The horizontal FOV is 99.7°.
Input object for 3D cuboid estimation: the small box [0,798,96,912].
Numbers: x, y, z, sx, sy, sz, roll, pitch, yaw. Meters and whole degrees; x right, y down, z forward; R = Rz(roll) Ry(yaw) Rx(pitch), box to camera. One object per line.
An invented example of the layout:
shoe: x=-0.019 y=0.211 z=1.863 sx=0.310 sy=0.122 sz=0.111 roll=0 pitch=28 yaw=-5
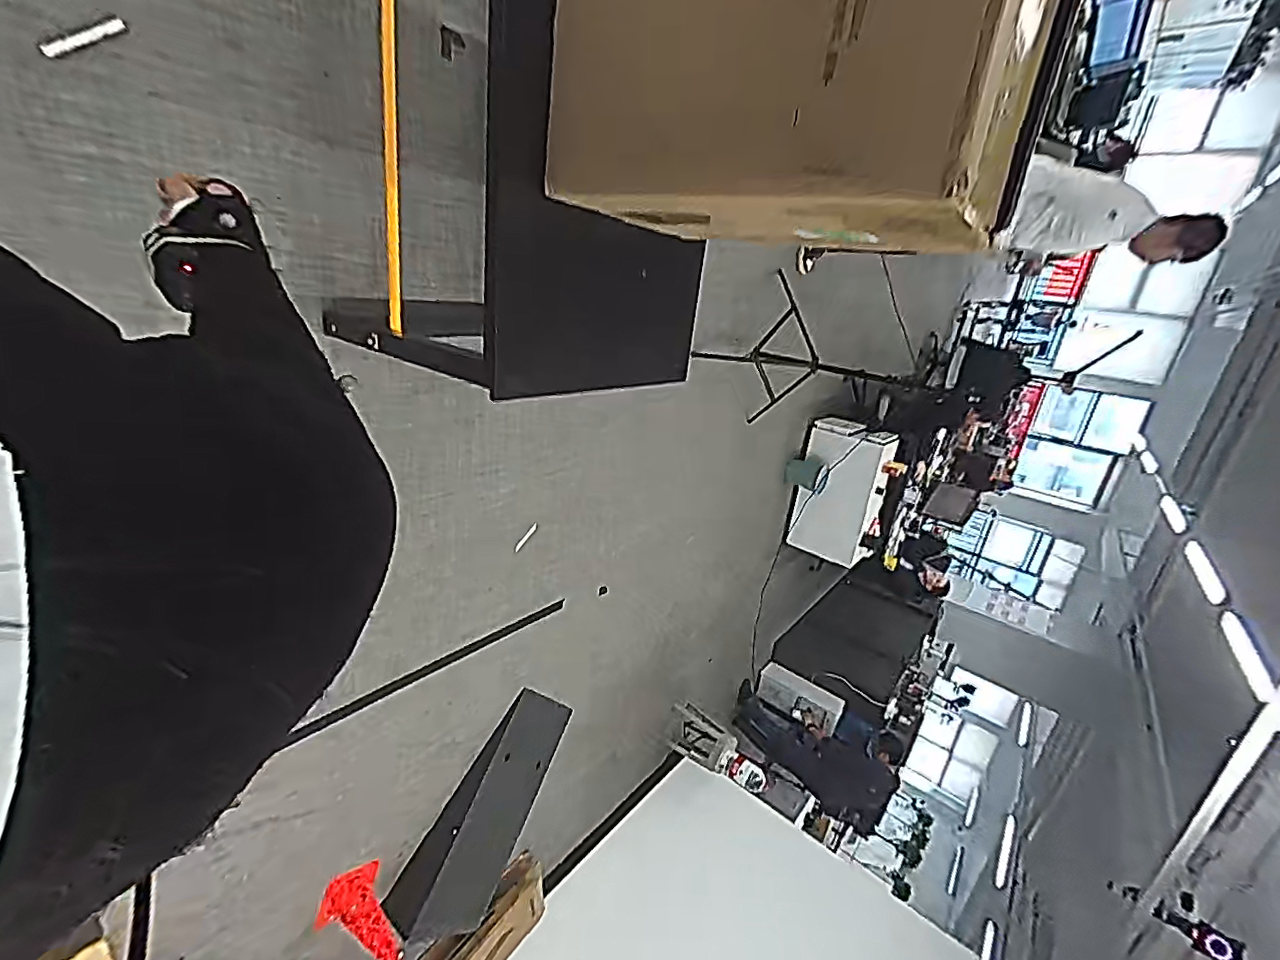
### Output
small box: x=-1.044 y=0.687 z=0.903 sx=0.168 sy=0.176 sz=0.179 roll=-12 pitch=116 yaw=-52

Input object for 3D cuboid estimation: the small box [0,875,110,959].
small box: x=-0.922 y=0.746 z=0.810 sx=0.168 sy=0.176 sz=0.179 roll=-17 pitch=121 yaw=-50
